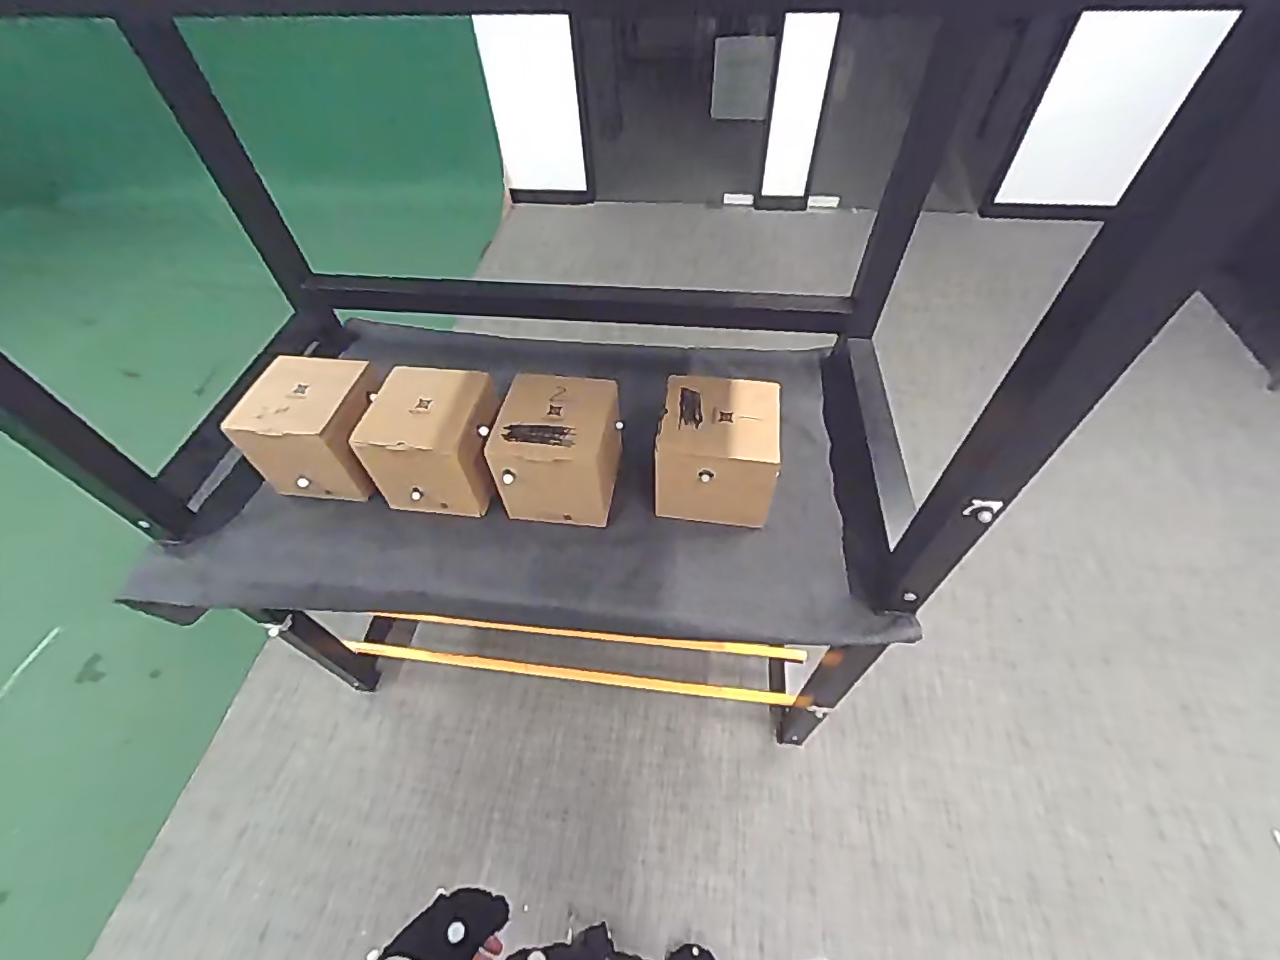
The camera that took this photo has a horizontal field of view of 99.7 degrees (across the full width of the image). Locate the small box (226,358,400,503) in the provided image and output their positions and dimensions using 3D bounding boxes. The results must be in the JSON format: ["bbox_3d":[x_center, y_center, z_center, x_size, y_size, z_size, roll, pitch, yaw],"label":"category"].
[{"bbox_3d":[-0.539,-0.085,0.927,0.168,0.176,0.179,4,52,6],"label":"small box"}]

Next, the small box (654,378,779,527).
[{"bbox_3d":[0.120,-0.041,0.870,0.179,0.176,0.168,7,53,6],"label":"small box"}]
